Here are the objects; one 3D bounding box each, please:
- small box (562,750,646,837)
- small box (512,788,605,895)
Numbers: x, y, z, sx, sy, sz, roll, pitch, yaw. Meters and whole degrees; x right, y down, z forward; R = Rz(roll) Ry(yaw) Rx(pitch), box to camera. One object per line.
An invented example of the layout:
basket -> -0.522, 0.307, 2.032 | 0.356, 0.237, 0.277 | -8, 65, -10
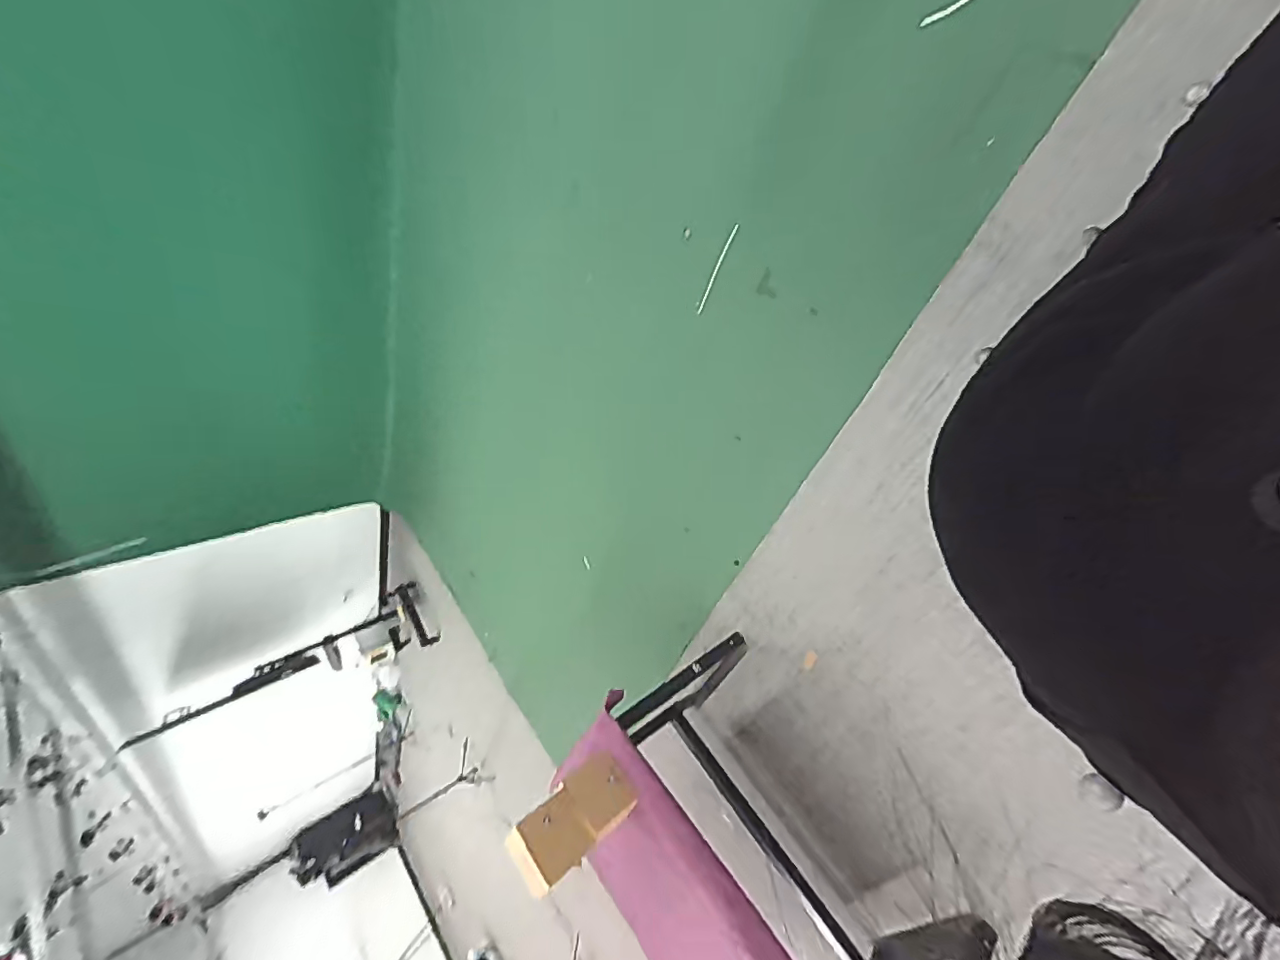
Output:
small box -> -0.114, 0.941, 1.609 | 0.179, 0.176, 0.168 | 44, 133, 28
small box -> -0.228, 0.995, 1.504 | 0.179, 0.176, 0.168 | 48, 135, 24
